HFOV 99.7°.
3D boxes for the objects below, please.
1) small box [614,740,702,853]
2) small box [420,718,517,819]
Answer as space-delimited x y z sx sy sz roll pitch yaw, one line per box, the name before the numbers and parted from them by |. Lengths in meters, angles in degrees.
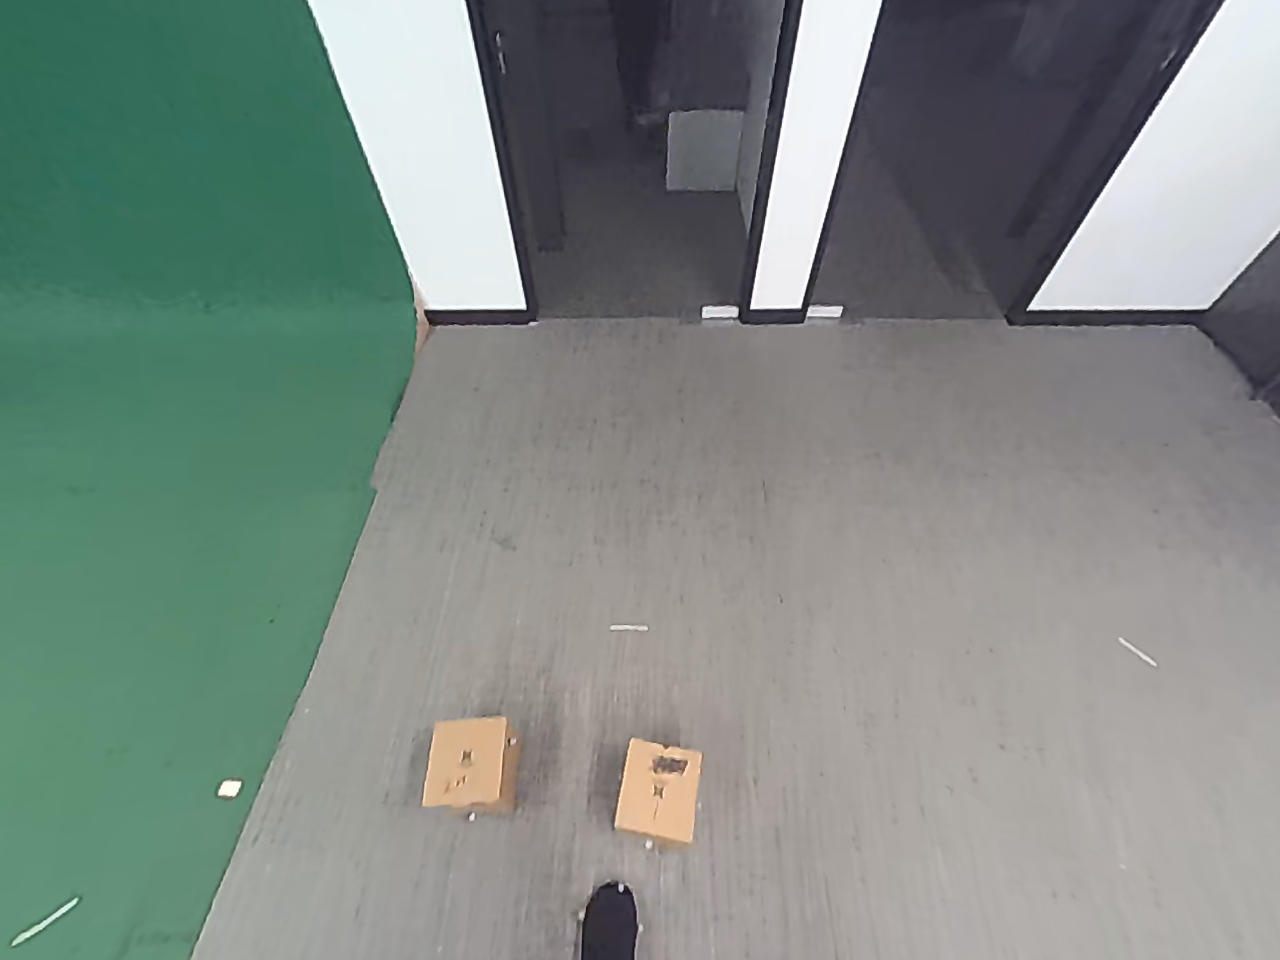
small box | 0.040 0.711 1.212 0.168 0.176 0.179 9 52 7
small box | -0.385 0.667 1.249 0.168 0.176 0.179 -2 51 -2
